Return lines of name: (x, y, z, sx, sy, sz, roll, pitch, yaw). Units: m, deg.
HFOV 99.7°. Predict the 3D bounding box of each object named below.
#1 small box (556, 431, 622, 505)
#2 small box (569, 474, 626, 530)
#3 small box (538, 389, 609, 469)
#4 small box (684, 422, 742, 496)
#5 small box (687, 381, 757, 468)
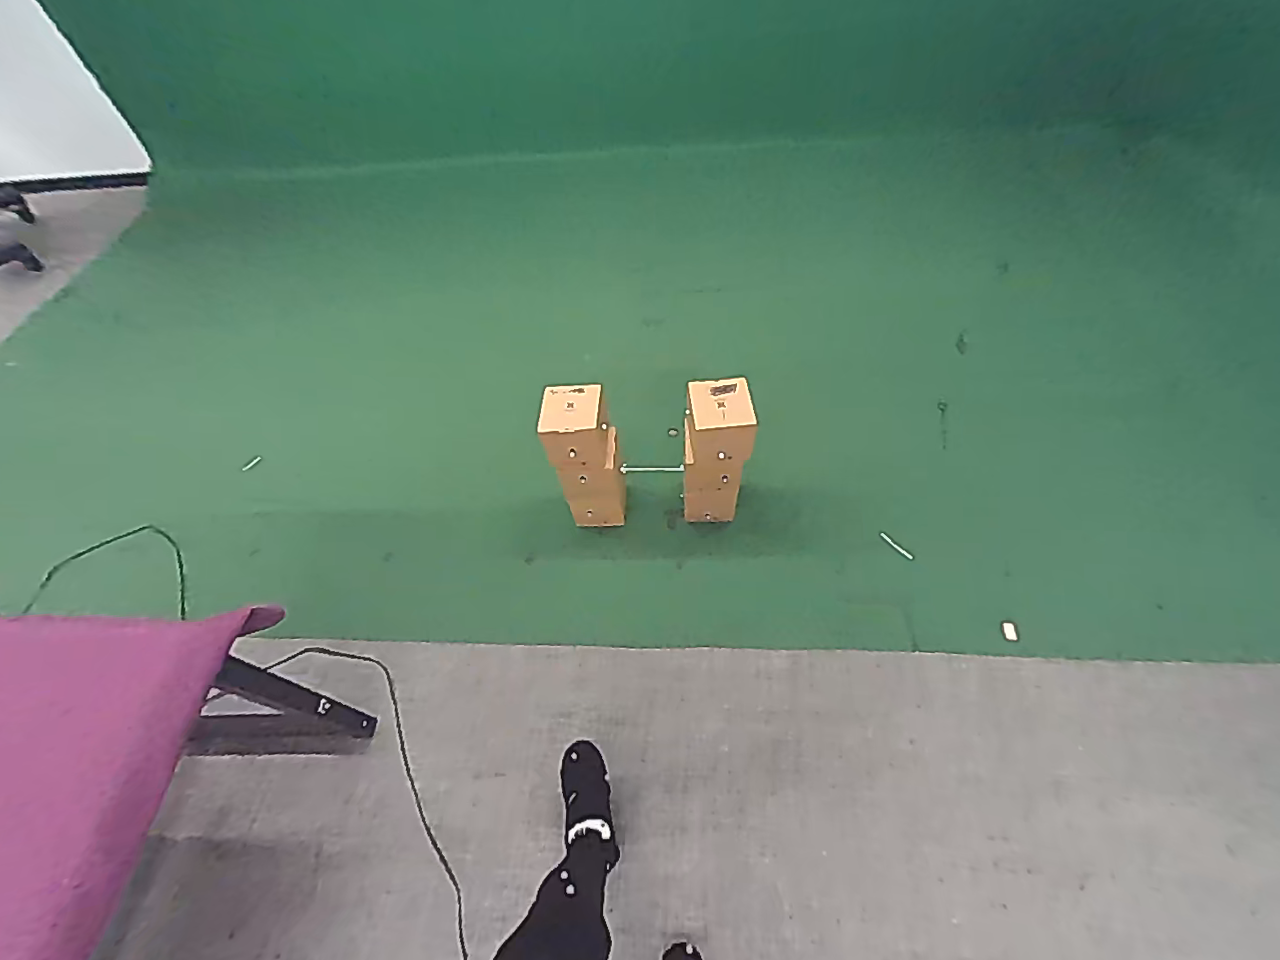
small box: (-0.154, -0.034, 1.692, 0.179, 0.176, 0.168, -2, 54, 4)
small box: (-0.137, 0.058, 1.827, 0.168, 0.176, 0.179, -2, 53, 5)
small box: (-0.187, -0.141, 1.570, 0.168, 0.176, 0.179, -2, 54, 6)
small box: (0.223, -0.063, 1.675, 0.168, 0.176, 0.179, -1, 55, 3)
small box: (0.227, -0.156, 1.541, 0.168, 0.176, 0.179, -6, 56, 1)
